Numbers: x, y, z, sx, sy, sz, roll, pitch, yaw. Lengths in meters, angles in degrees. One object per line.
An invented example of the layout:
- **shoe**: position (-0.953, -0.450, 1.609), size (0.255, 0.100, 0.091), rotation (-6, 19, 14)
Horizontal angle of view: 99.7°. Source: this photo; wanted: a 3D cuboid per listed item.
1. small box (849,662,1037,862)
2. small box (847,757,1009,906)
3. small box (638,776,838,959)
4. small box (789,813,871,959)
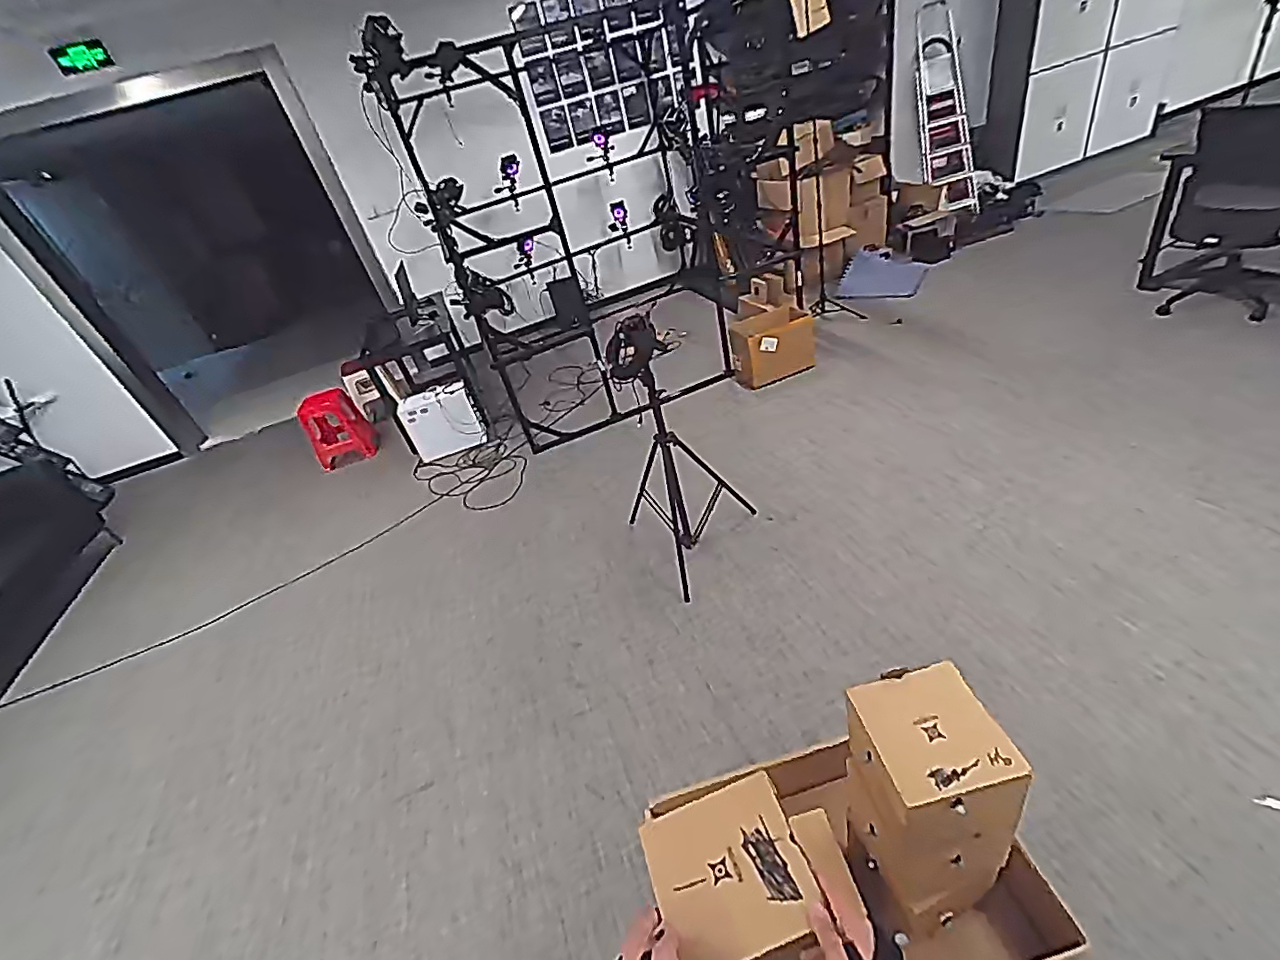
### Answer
- **small box**: position (0.416, 0.400, 0.774), size (0.168, 0.176, 0.179), rotation (-17, 33, 2)
- **small box**: position (0.456, 0.533, 0.862), size (0.179, 0.176, 0.168), rotation (-20, 34, -3)
- **small box**: position (0.118, 0.501, 0.645), size (0.179, 0.176, 0.168), rotation (-23, 34, -4)
- **small box**: position (0.283, 0.729, 0.953), size (0.179, 0.176, 0.168), rotation (-16, 34, 0)
